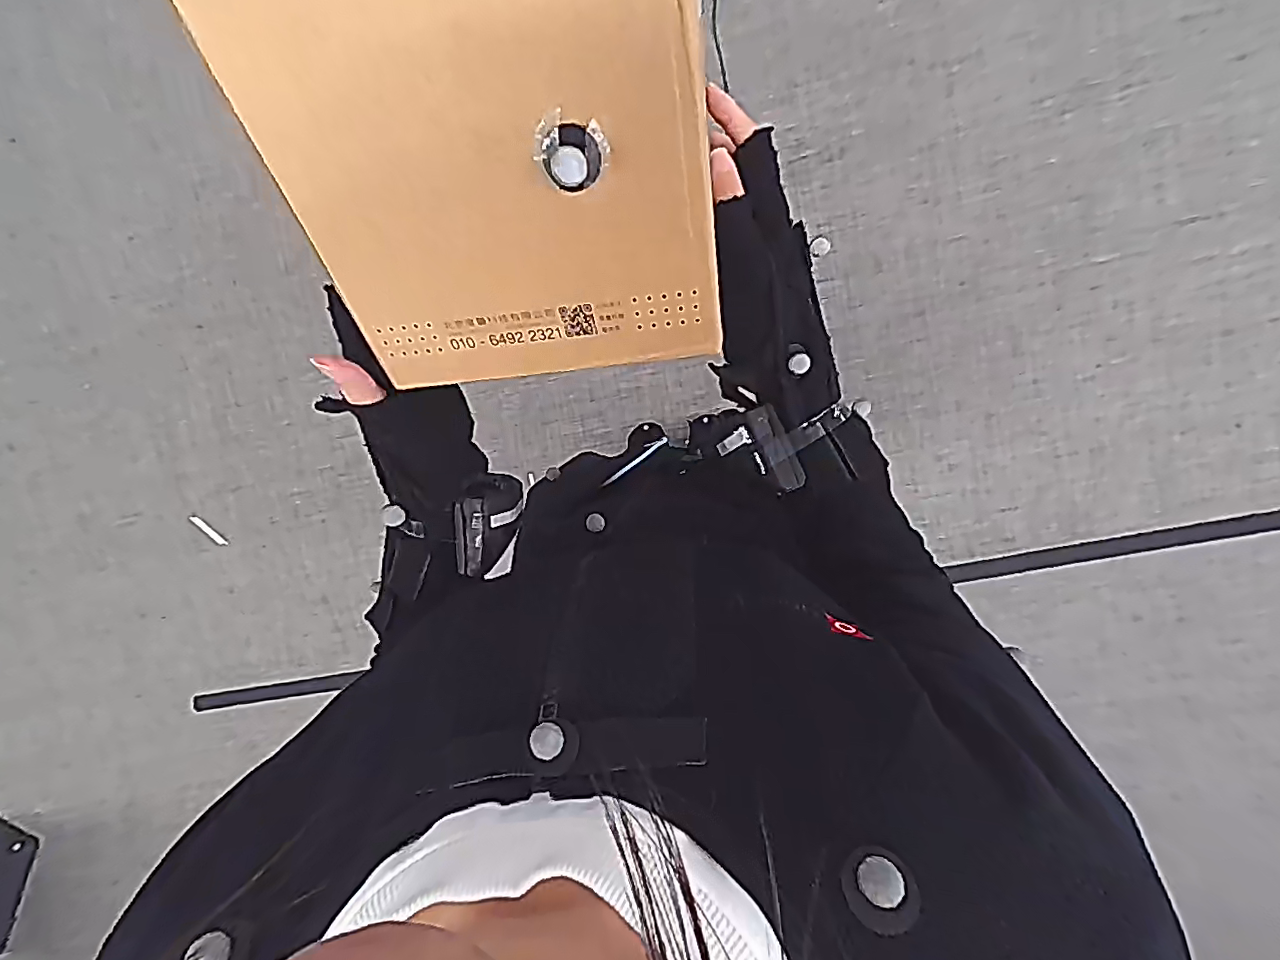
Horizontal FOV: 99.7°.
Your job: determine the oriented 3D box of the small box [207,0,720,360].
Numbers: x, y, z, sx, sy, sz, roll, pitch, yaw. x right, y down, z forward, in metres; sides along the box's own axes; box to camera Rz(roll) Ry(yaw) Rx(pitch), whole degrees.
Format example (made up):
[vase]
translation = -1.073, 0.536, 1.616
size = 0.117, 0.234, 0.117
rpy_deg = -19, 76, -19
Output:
[small box]
translation = -0.047, -0.174, 0.280
size = 0.168, 0.179, 0.176
rpy_deg = -3, 135, 11
